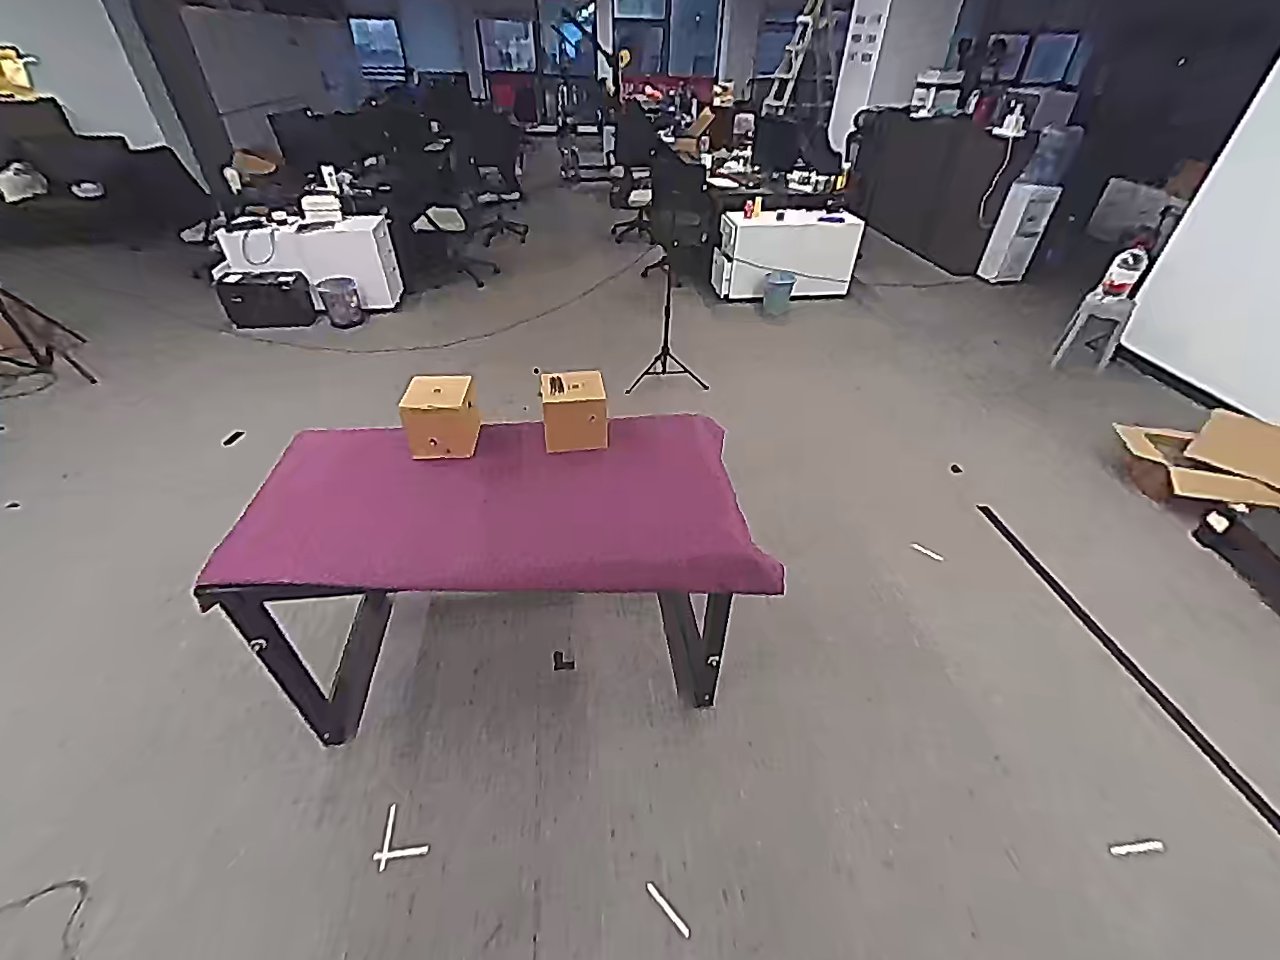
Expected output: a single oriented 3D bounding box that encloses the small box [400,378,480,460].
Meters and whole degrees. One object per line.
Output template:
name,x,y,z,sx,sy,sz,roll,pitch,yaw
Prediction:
small box,-0.557,-0.174,1.533,0.168,0.176,0.179,-1,39,-4
